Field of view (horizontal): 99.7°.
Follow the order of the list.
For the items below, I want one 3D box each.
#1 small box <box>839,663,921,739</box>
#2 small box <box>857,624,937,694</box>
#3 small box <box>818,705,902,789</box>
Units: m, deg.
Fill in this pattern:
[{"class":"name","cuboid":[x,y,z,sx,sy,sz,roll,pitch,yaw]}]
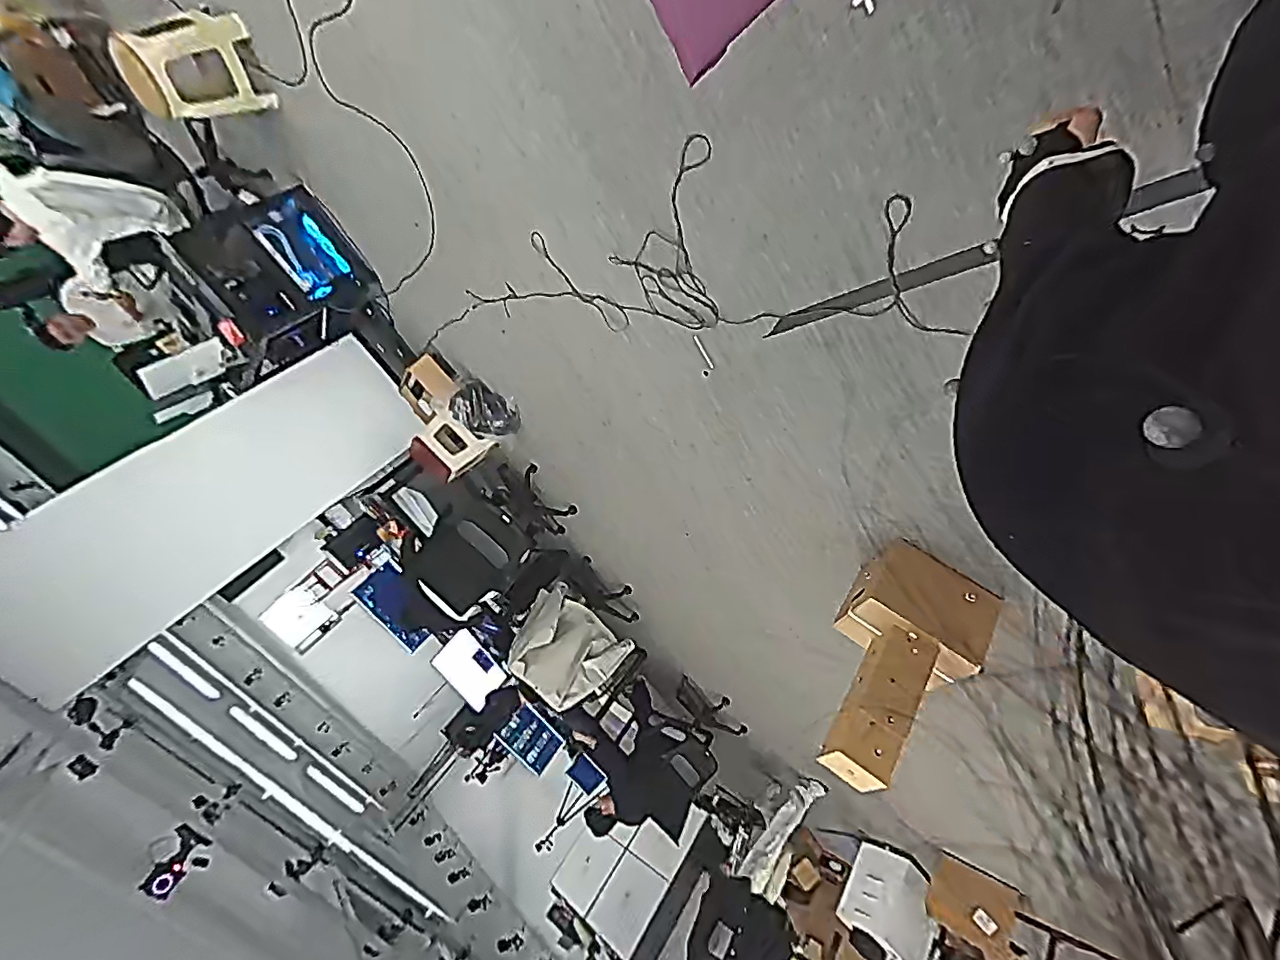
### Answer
[{"class":"small box","cuboid":[0.795,0.738,1.787,0.168,0.176,0.179,34,149,15]},{"class":"small box","cuboid":[0.892,0.633,1.868,0.168,0.176,0.179,34,148,15]},{"class":"small box","cuboid":[0.697,0.837,1.703,0.168,0.176,0.179,34,148,15]}]
